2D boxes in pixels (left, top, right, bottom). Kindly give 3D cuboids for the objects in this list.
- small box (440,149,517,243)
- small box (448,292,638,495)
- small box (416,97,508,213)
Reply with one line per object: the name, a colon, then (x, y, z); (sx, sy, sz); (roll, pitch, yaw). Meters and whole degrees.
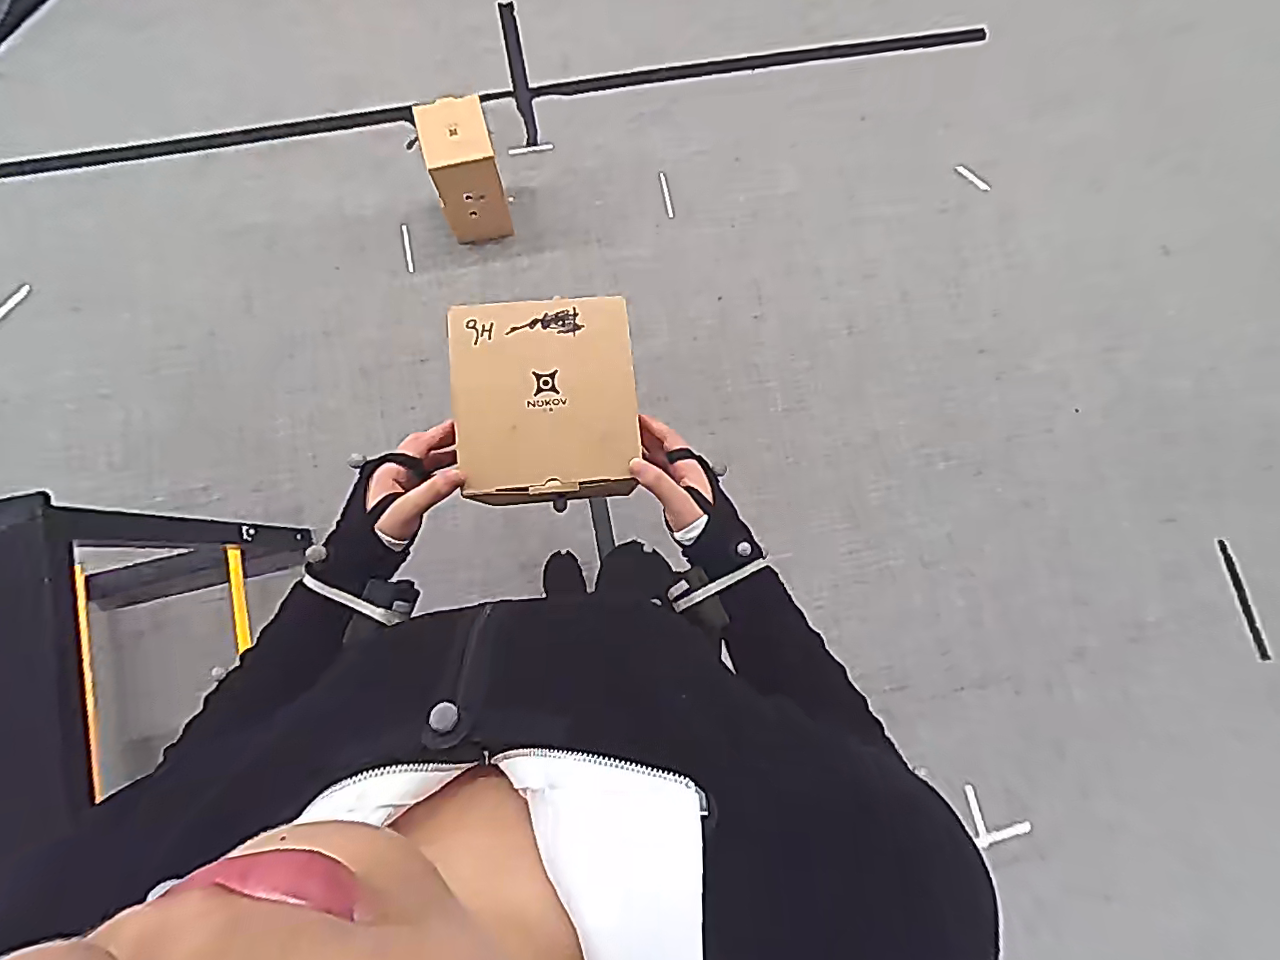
small box: (-0.467, -0.810, 1.556); (0.179, 0.176, 0.168); (-13, 83, -6)
small box: (-0.093, -0.077, 0.570); (0.168, 0.176, 0.179); (-5, 85, -5)
small box: (-0.453, -0.832, 1.396); (0.168, 0.176, 0.179); (-16, 84, -4)
